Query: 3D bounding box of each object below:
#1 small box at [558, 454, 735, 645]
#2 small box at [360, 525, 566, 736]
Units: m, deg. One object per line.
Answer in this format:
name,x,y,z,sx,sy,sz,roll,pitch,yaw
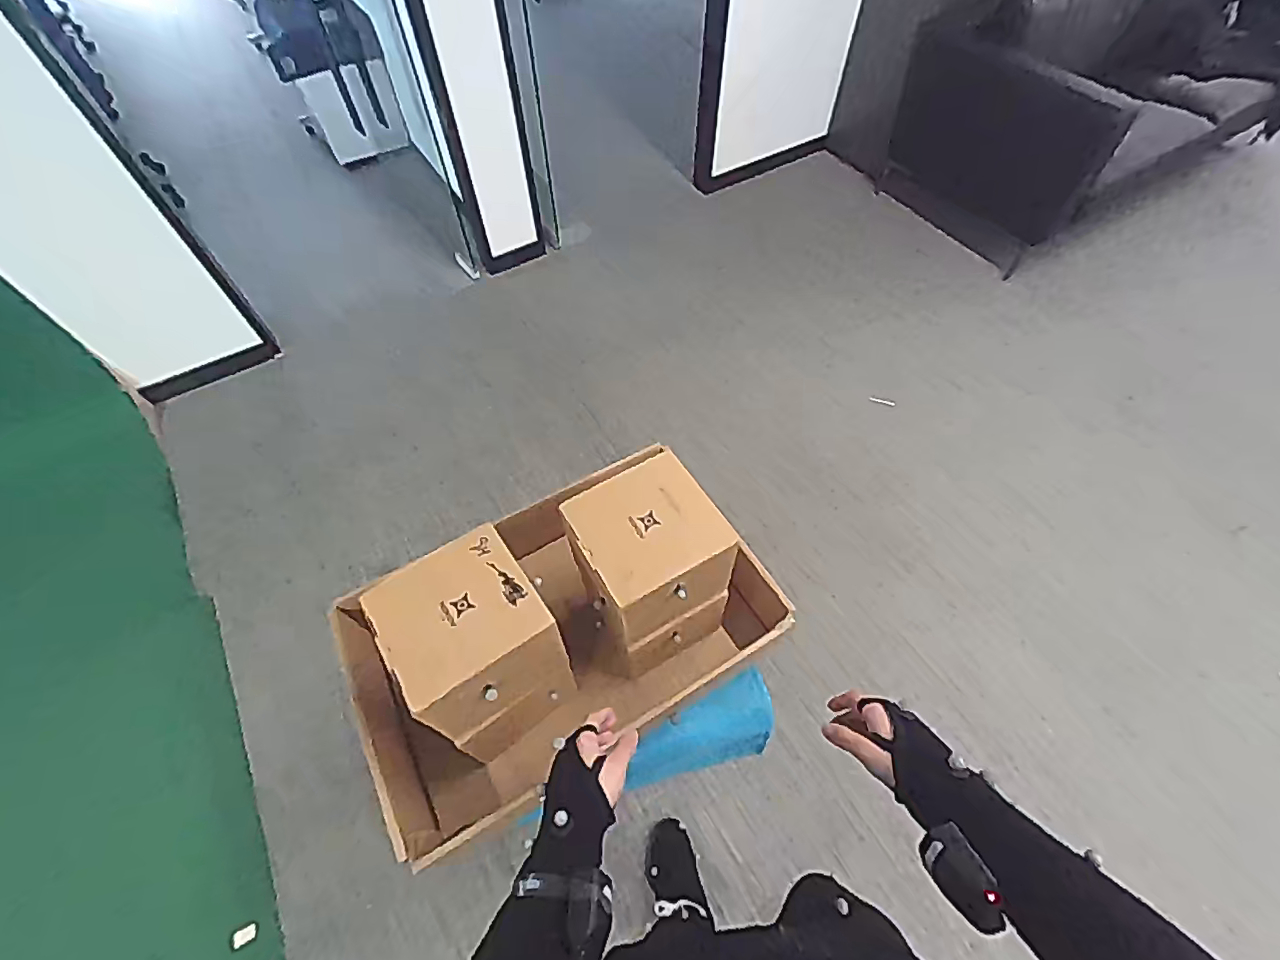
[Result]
small box,0.010,0.102,0.749,0.179,0.176,0.168,-26,60,-14
small box,-0.214,0.197,0.691,0.179,0.176,0.168,-31,62,-19
